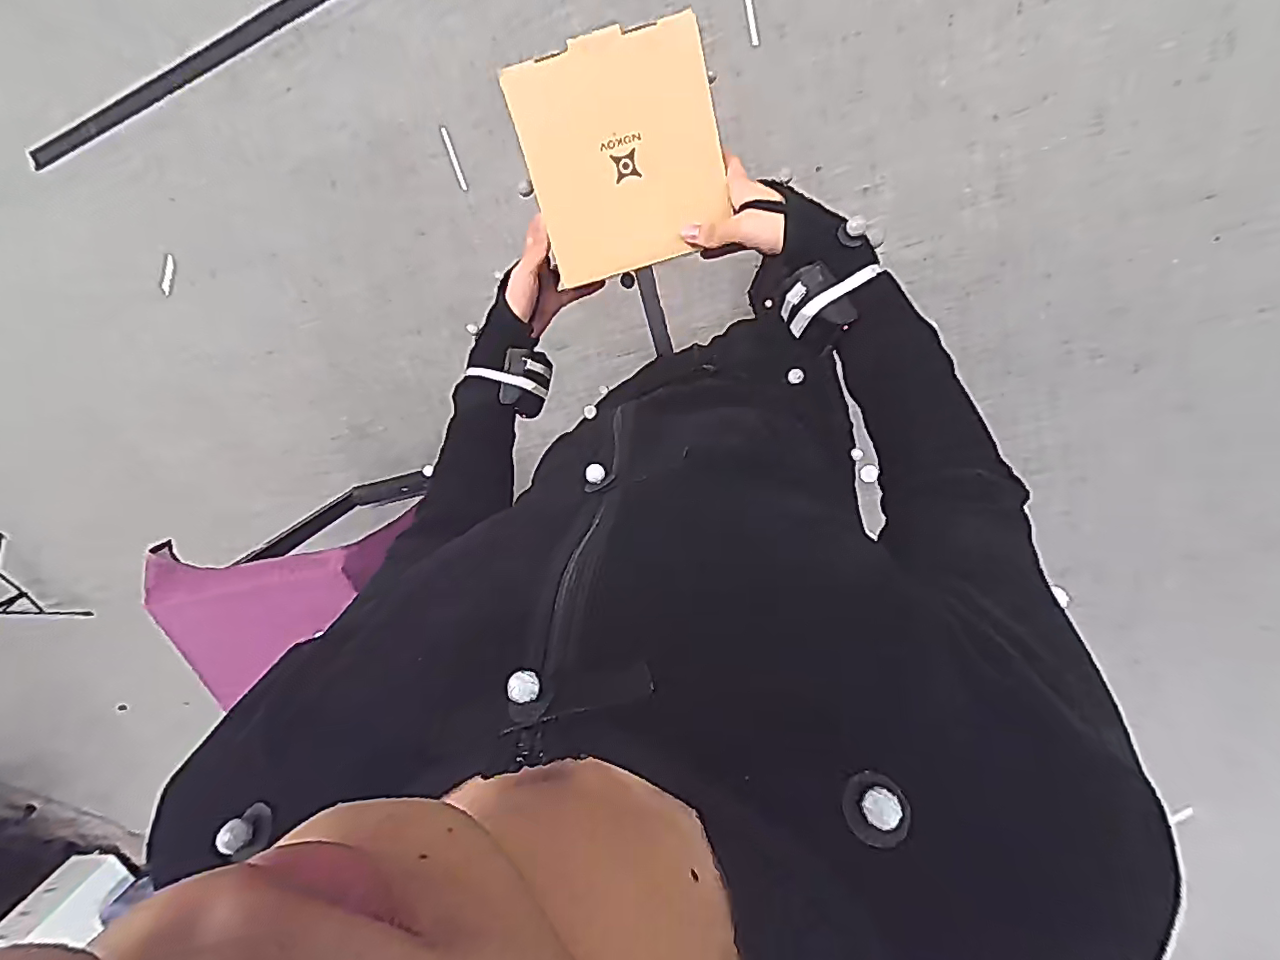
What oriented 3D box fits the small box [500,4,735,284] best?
[{"bbox_3d":[-0.016,-0.305,0.532,0.168,0.176,0.179,-15,111,3],"label":"small box"}]
